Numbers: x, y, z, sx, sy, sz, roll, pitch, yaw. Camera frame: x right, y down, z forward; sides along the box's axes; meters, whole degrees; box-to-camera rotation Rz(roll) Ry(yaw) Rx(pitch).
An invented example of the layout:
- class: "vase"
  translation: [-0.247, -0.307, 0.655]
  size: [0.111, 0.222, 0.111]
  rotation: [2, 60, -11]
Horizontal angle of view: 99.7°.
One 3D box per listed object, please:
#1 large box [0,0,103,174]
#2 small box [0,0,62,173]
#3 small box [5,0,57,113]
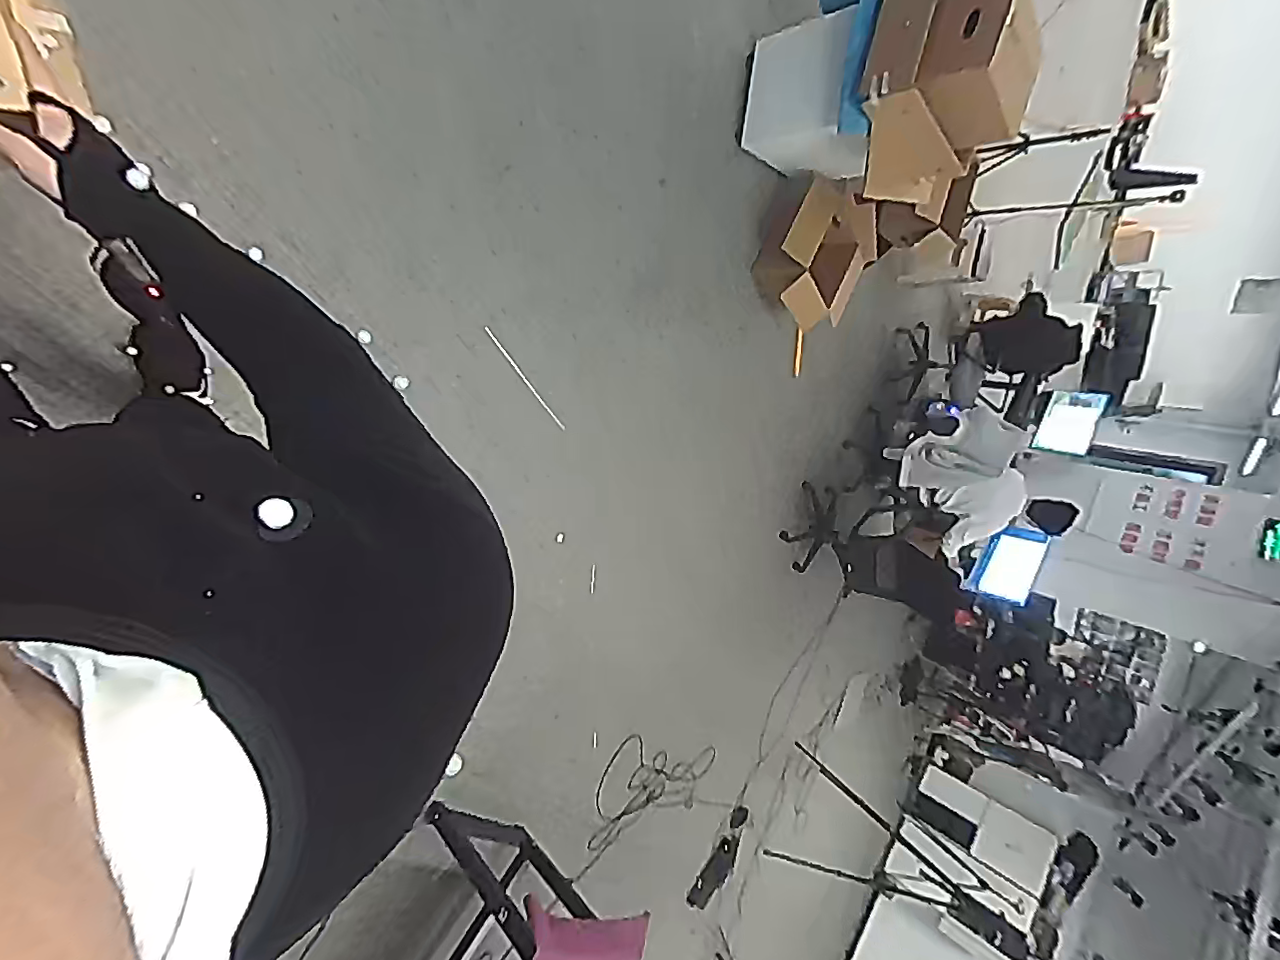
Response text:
- class: "large box"
  translation: [-1.120, -0.644, 0.791]
  size: [0.408, 0.320, 0.320]
  rotation: [-23, 119, -39]
- class: "small box"
  translation: [-0.641, -0.381, 0.456]
  size: [0.168, 0.176, 0.179]
  rotation: [-20, 114, -37]
- class: "small box"
  translation: [-0.782, -0.513, 0.584]
  size: [0.179, 0.176, 0.168]
  rotation: [-19, 118, -40]
